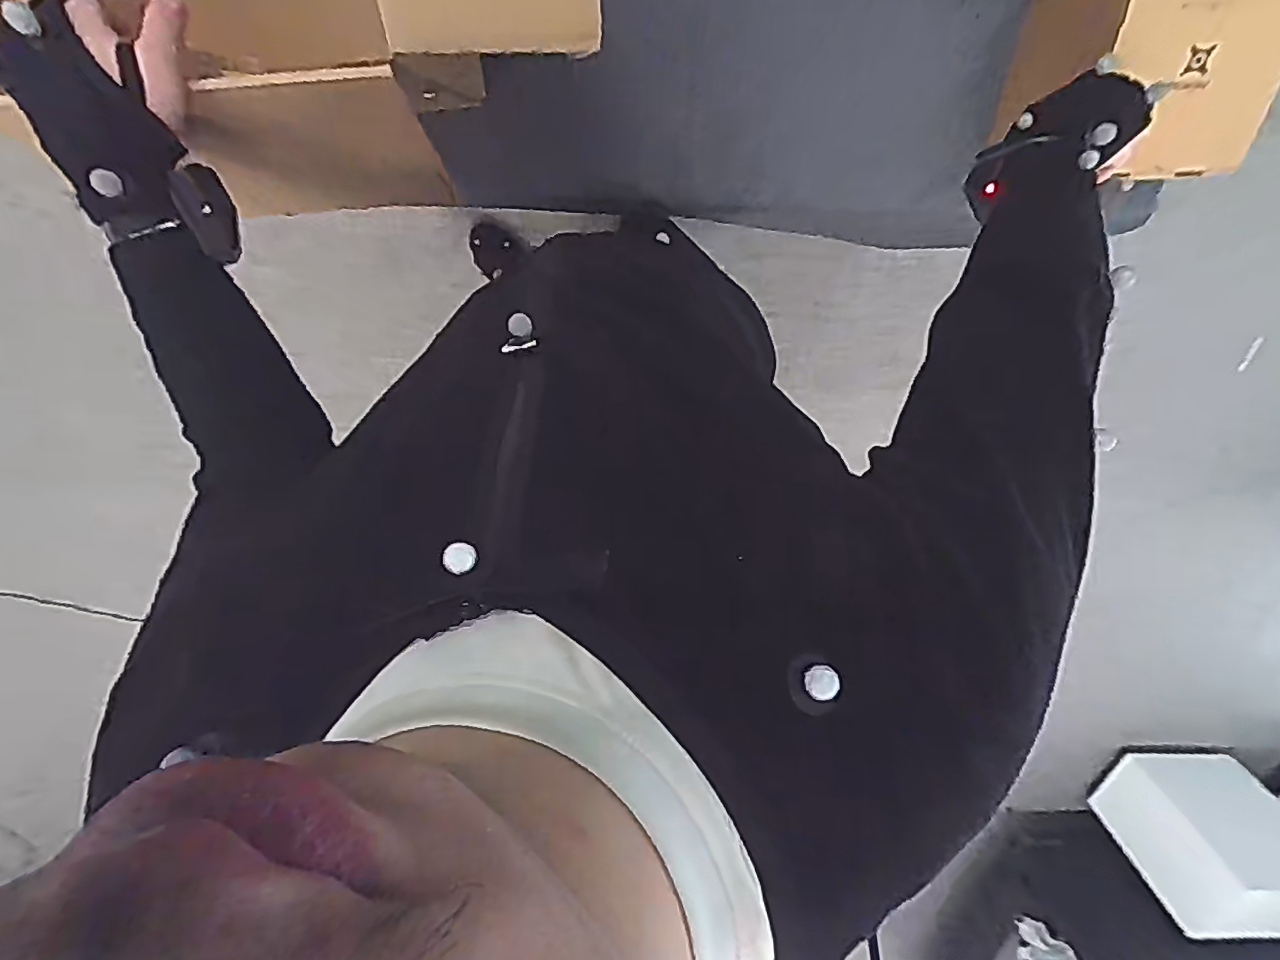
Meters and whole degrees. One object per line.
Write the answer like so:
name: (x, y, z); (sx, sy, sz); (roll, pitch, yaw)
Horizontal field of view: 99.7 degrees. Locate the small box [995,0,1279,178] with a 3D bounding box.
small box: (0.511, -0.419, 0.562); (0.168, 0.176, 0.179); (-1, 120, 1)
